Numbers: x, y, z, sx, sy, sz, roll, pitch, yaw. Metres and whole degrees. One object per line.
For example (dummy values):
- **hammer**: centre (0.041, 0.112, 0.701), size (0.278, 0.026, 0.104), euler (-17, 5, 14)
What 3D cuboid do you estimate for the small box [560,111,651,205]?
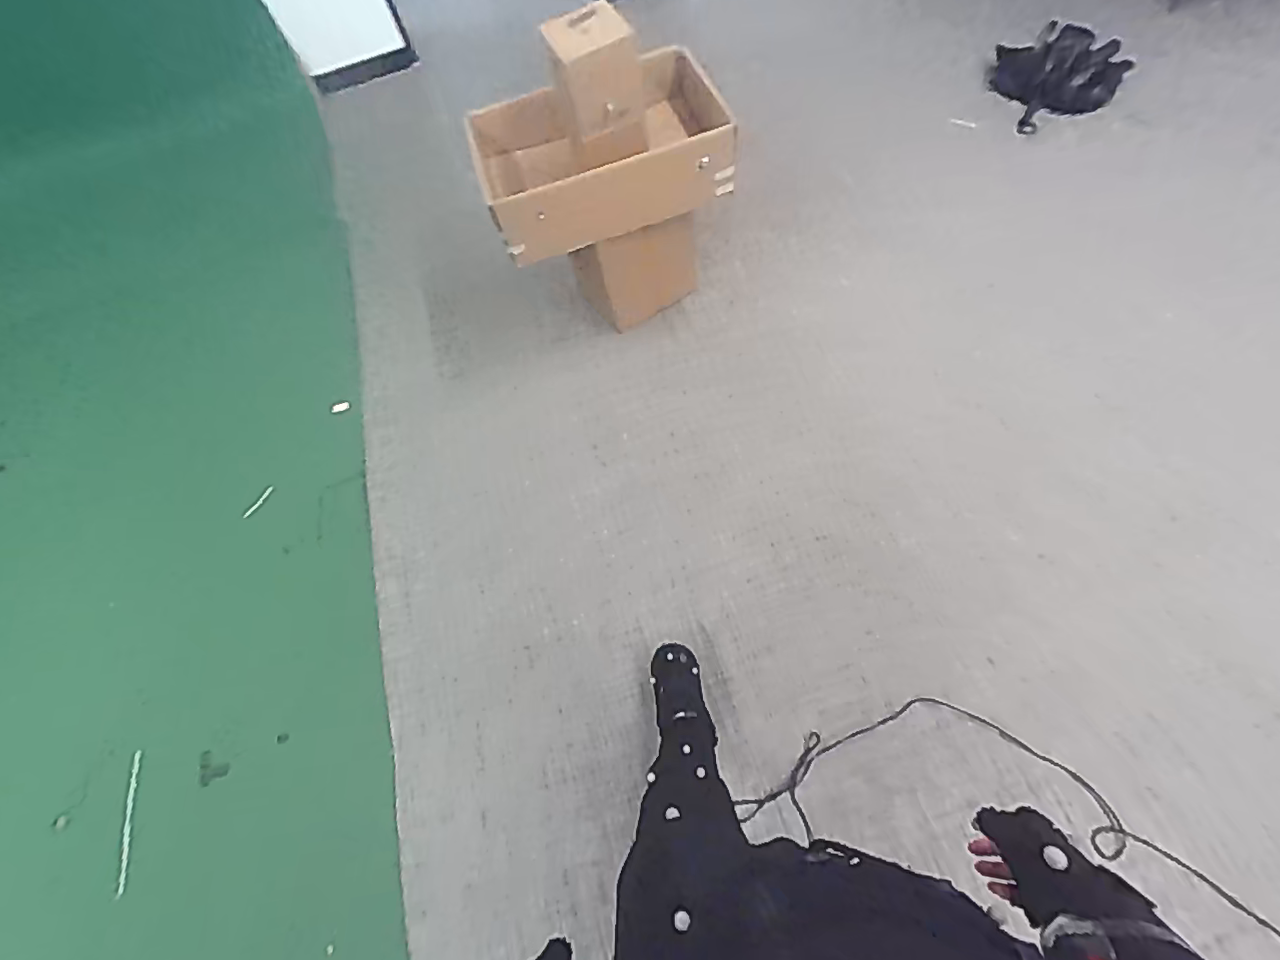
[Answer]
- **small box**: centre (-0.085, -0.851, 1.389), size (0.168, 0.176, 0.179), euler (-25, 65, -3)

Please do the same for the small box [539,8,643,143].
- **small box**: centre (-0.108, -0.922, 1.243), size (0.168, 0.176, 0.179), euler (-26, 64, -2)
